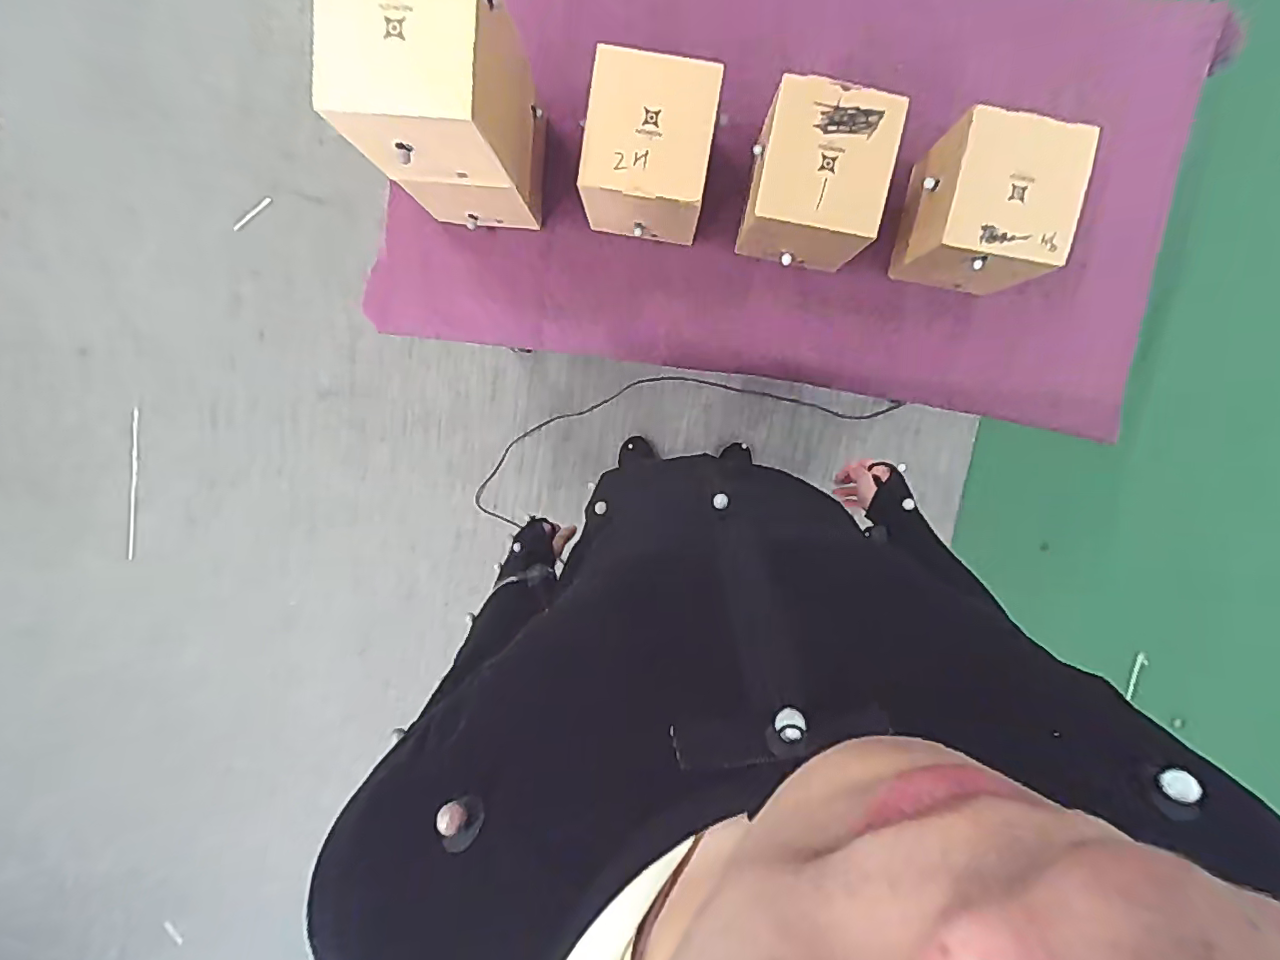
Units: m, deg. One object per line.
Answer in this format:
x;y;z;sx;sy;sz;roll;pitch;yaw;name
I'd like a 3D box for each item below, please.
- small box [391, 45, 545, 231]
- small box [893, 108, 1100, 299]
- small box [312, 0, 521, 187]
-0.235;-0.482;0.776;0.168;0.176;0.179;5;97;2;small box
0.487;-0.378;0.769;0.168;0.176;0.179;11;96;1;small box
-0.240;-0.460;0.616;0.168;0.176;0.179;5;96;2;small box
